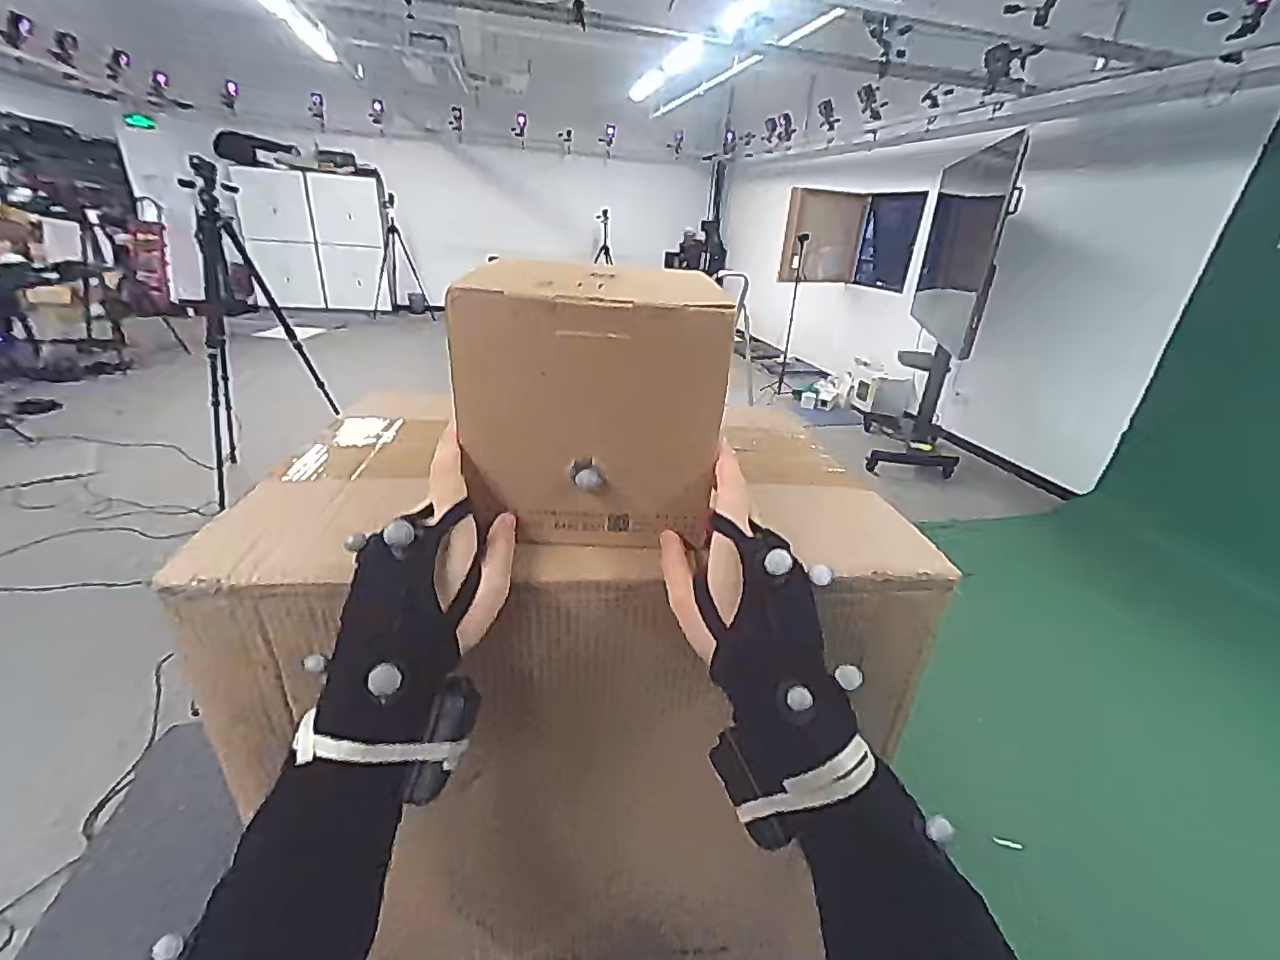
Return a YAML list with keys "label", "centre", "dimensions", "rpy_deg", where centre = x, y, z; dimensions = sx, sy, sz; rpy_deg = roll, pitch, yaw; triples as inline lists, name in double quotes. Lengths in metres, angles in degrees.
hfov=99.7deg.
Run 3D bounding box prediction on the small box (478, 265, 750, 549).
- label: "small box"
  centre: [-0.023, -0.066, 0.428]
  dimensions: [0.168, 0.176, 0.179]
  rpy_deg: [3, 27, -3]
